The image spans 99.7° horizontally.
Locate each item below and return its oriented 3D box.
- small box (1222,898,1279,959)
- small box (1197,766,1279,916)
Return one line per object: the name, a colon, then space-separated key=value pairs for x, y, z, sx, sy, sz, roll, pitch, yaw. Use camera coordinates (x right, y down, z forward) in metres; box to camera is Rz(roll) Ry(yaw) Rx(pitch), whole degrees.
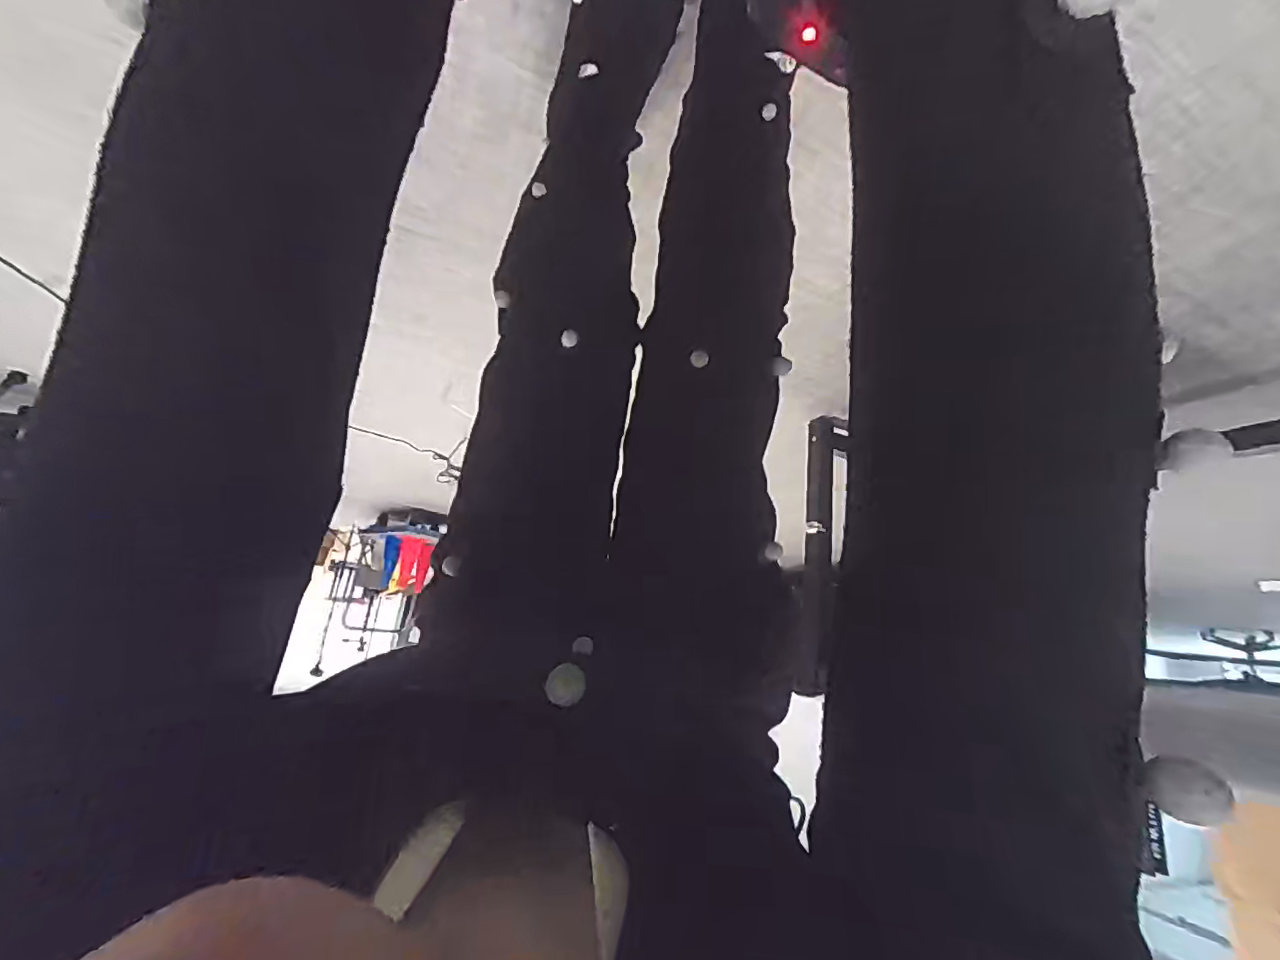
small box: x=0.923 y=0.666 z=0.708 sx=0.179 sy=0.176 sz=0.168 roll=13 pitch=162 yaw=-22
small box: x=0.926 y=0.506 z=0.748 sx=0.179 sy=0.176 sz=0.168 roll=13 pitch=163 yaw=-25
